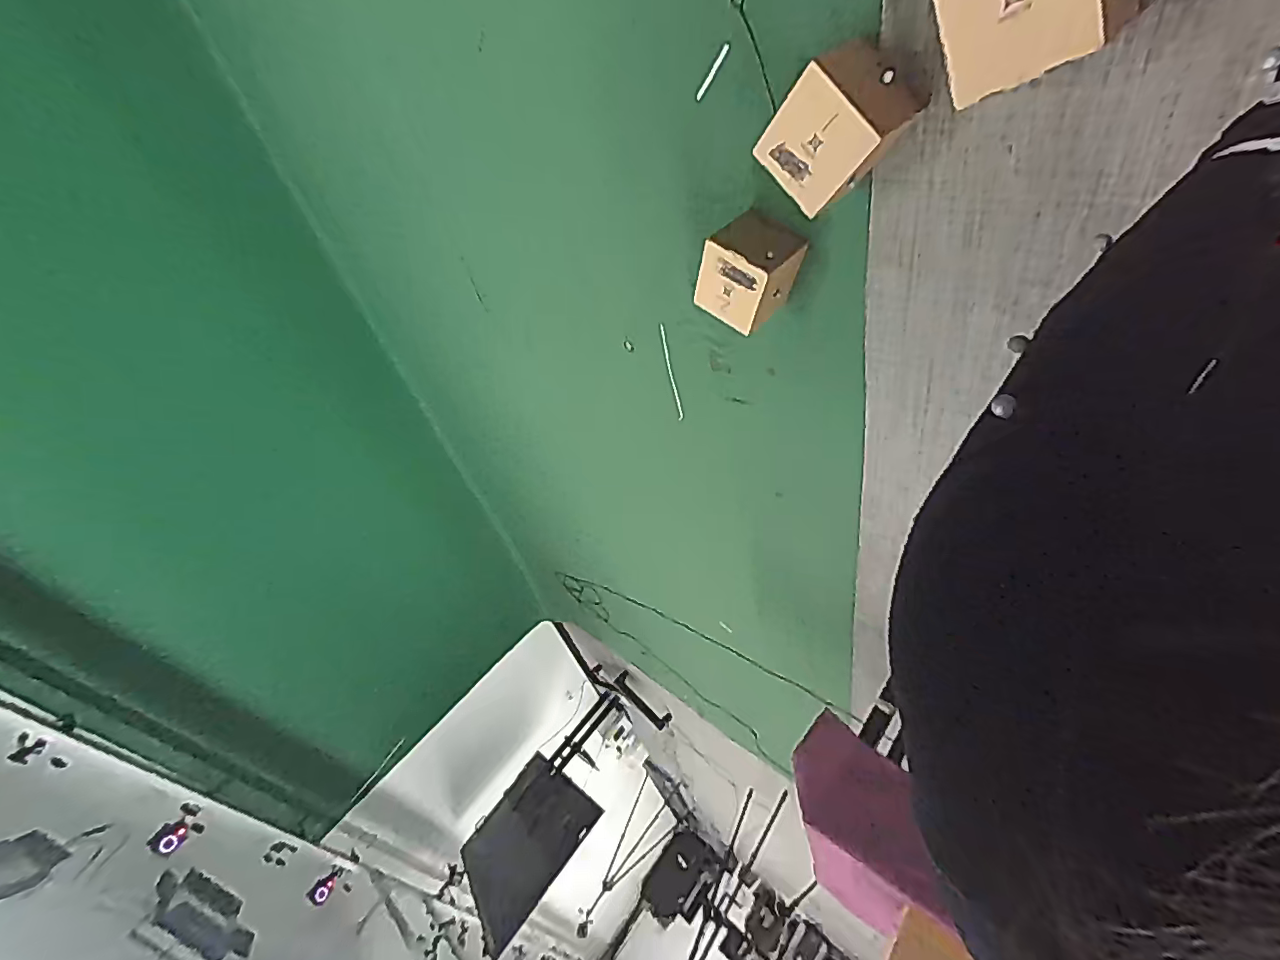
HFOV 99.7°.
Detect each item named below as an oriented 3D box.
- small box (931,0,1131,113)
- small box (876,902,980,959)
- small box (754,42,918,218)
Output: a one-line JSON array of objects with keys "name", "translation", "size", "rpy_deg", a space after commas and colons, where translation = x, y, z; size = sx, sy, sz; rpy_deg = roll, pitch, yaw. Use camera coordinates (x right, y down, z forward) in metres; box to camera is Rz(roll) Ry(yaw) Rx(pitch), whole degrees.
[{"name": "small box", "translation": [0.504, -0.625, 0.696], "size": [0.168, 0.176, 0.179], "rpy_deg": [7, 134, 51]}, {"name": "small box", "translation": [0.672, 1.149, 1.272], "size": [0.179, 0.176, 0.168], "rpy_deg": [26, 147, 35]}, {"name": "small box", "translation": [0.342, -0.610, 0.947], "size": [0.168, 0.176, 0.179], "rpy_deg": [48, 152, -2]}]
